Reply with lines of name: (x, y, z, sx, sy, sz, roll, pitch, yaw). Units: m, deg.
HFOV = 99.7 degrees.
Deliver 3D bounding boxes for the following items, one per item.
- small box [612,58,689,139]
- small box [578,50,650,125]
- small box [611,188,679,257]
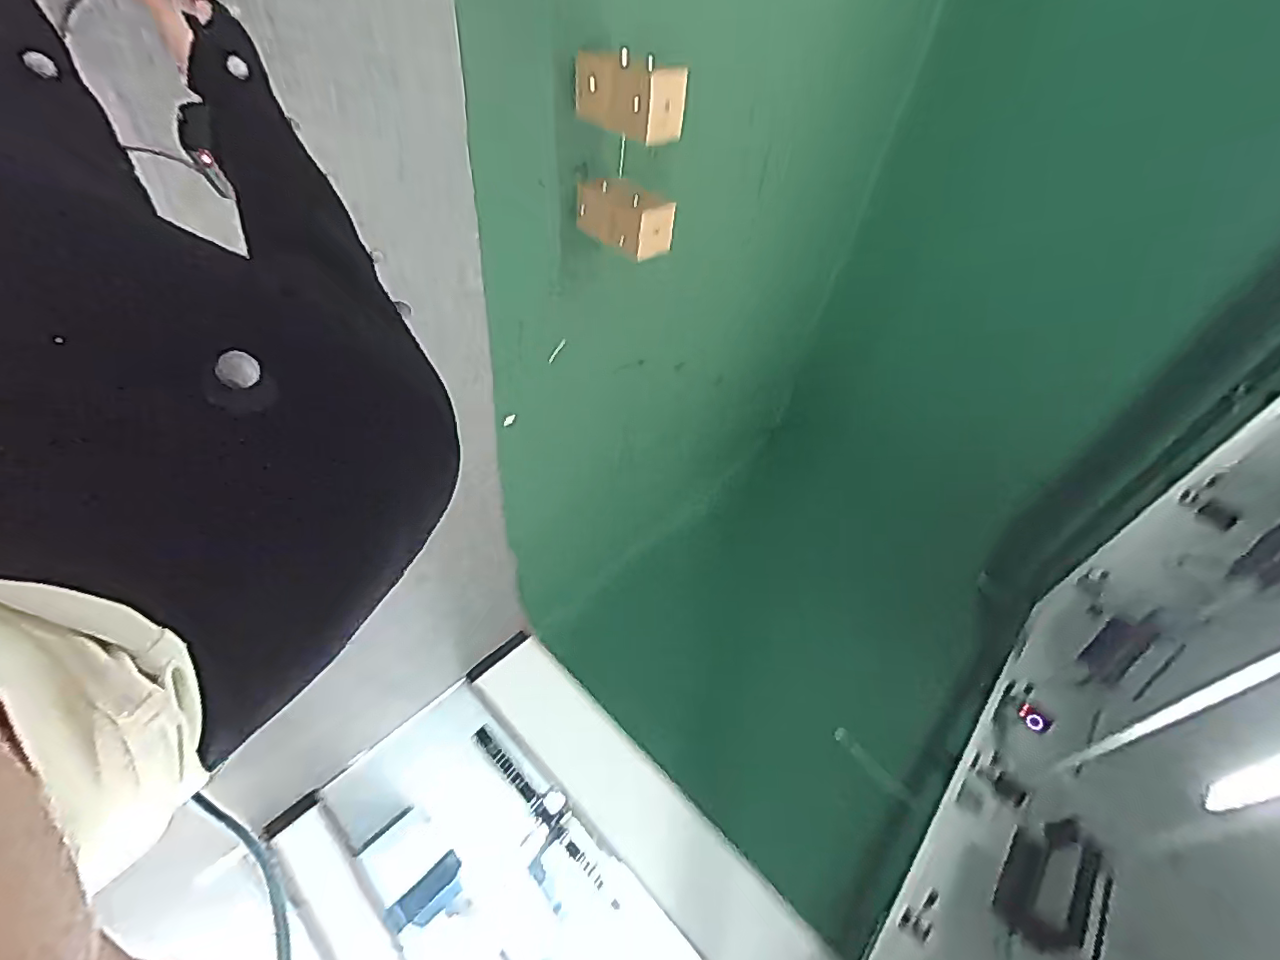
small box: (0.026, -1.183, 1.671, 0.168, 0.176, 0.179, -35, 149, -32)
small box: (-0.089, -1.272, 1.747, 0.179, 0.176, 0.168, -36, 149, -33)
small box: (0.012, -0.934, 1.954, 0.179, 0.176, 0.168, -34, 149, -32)
